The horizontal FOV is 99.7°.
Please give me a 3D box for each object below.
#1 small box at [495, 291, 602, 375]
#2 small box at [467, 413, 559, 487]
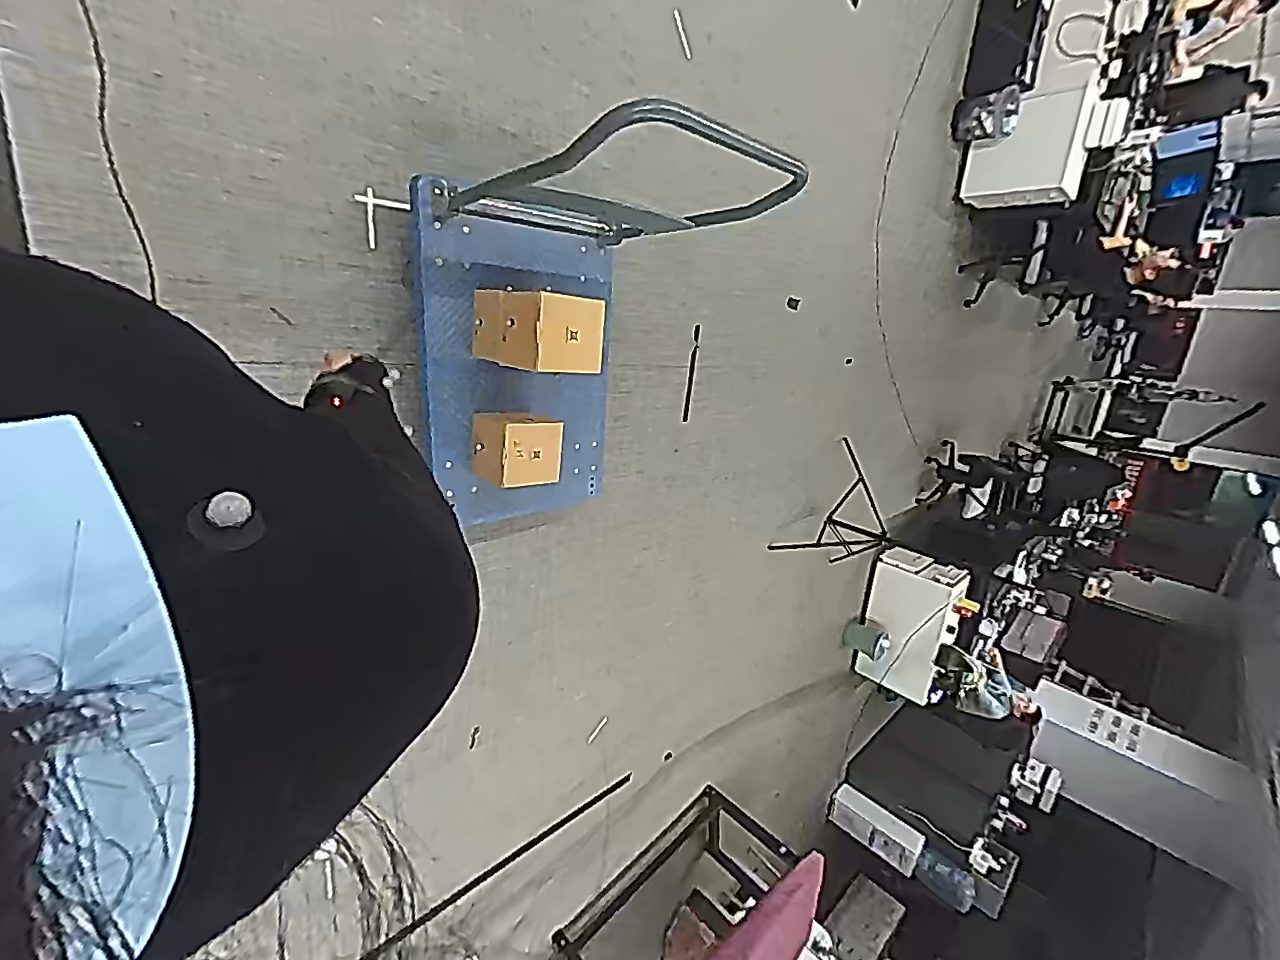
[{"bbox_3d":[-0.212,-0.338,1.244,0.179,0.176,0.168,-9,111,-42],"label":"small box"},{"bbox_3d":[-0.341,-0.087,1.446,0.179,0.176,0.168,-6,108,-44],"label":"small box"}]
